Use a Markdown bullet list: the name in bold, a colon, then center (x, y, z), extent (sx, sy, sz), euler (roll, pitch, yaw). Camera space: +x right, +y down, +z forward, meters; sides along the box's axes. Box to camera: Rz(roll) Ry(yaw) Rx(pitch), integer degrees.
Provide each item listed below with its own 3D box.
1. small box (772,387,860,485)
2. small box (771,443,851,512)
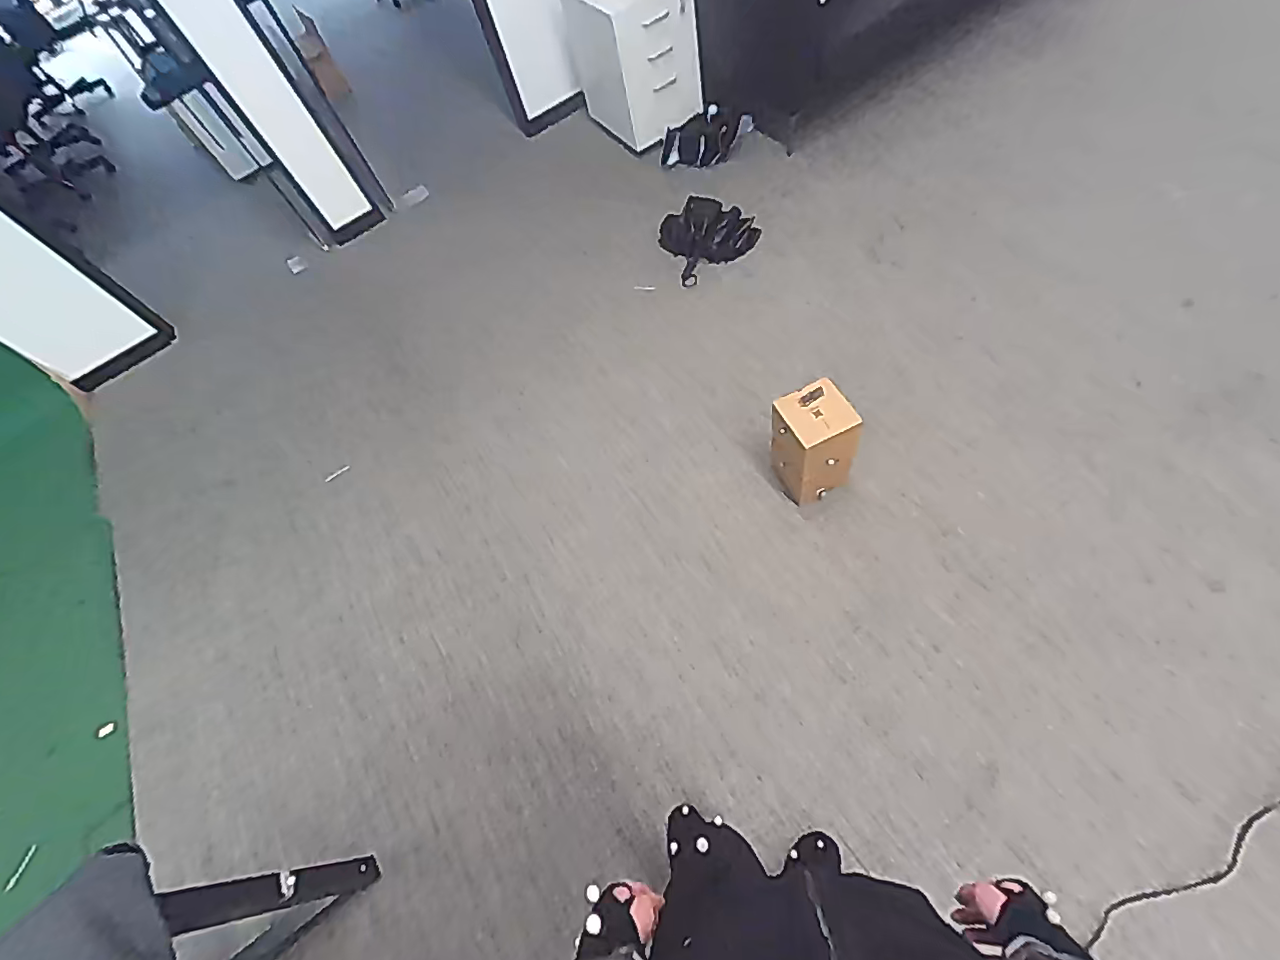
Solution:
- **small box**: center (0.476, -0.117, 1.492), extent (0.168, 0.176, 0.179), euler (-25, 59, -1)
- **small box**: center (0.505, -0.035, 1.632), extent (0.168, 0.176, 0.179), euler (-26, 59, -2)
